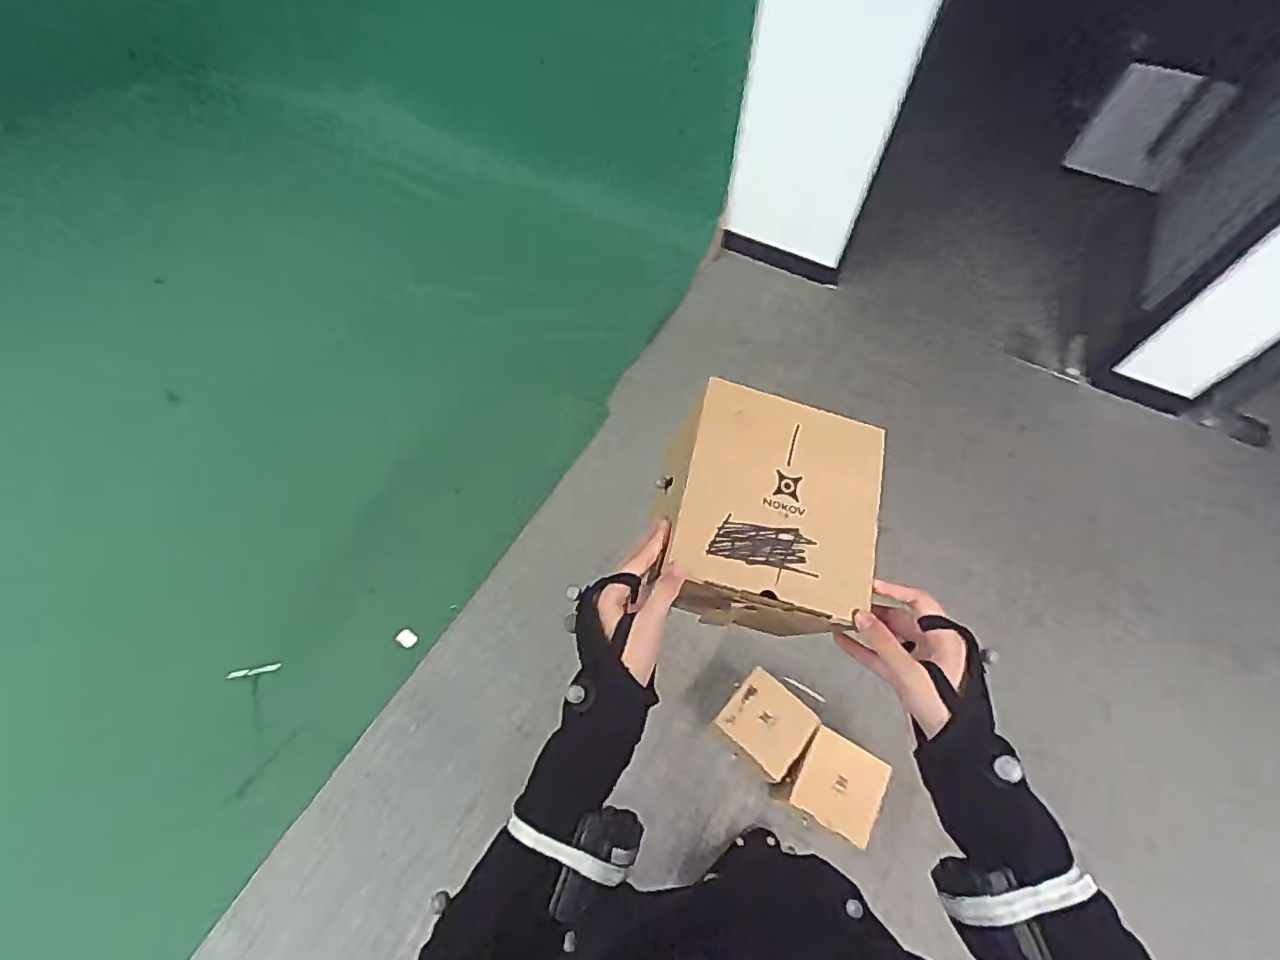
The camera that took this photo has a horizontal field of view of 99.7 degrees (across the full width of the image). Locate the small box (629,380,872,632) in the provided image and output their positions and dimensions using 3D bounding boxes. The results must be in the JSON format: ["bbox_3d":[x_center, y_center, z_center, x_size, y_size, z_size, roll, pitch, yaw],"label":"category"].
[{"bbox_3d":[0.092,0.039,0.512,0.168,0.176,0.179,15,69,-5],"label":"small box"}]

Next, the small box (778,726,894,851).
[{"bbox_3d":[0.426,0.675,1.199,0.168,0.176,0.179,29,66,14],"label":"small box"}]
